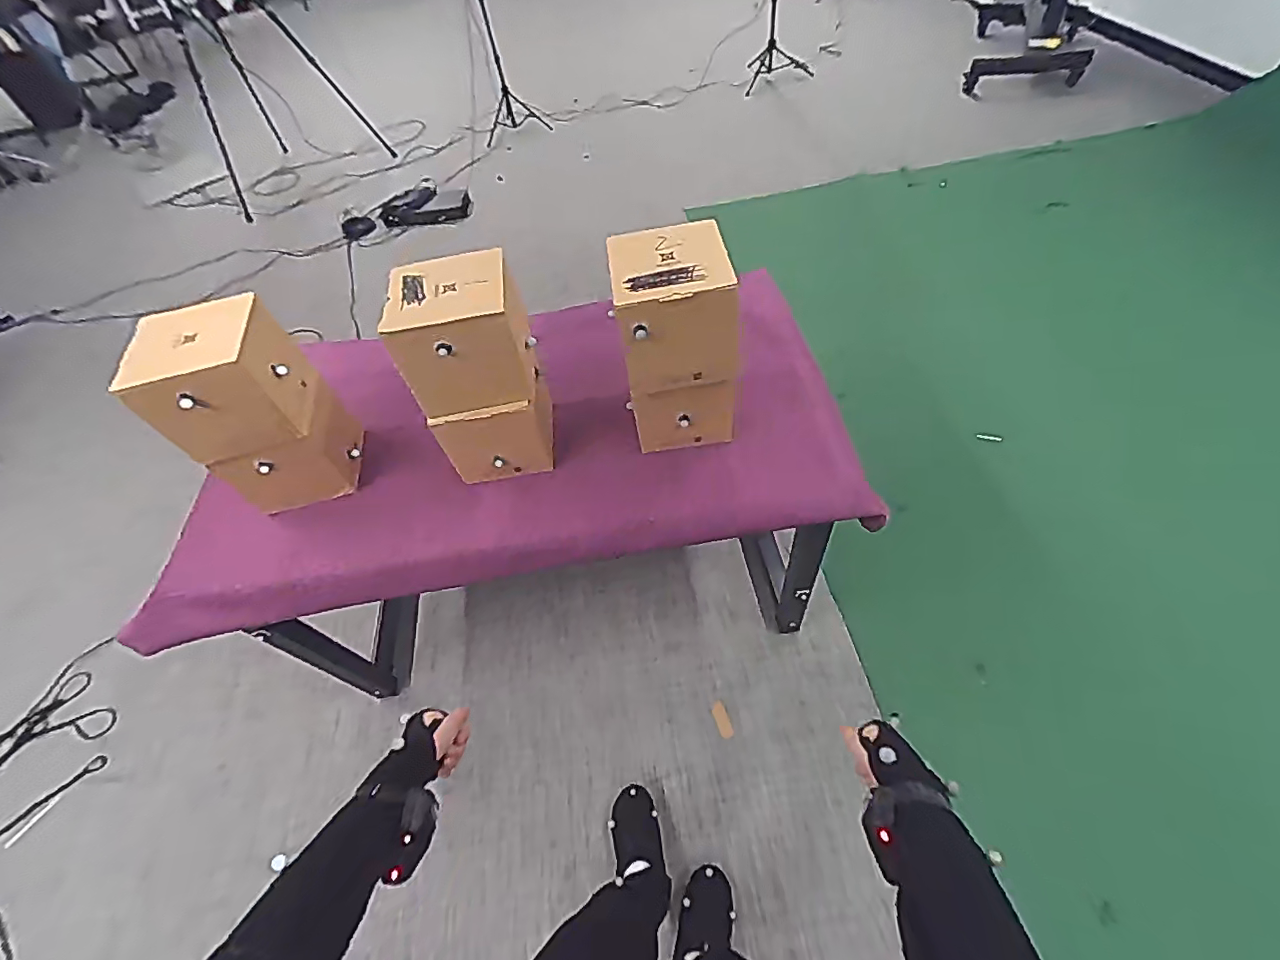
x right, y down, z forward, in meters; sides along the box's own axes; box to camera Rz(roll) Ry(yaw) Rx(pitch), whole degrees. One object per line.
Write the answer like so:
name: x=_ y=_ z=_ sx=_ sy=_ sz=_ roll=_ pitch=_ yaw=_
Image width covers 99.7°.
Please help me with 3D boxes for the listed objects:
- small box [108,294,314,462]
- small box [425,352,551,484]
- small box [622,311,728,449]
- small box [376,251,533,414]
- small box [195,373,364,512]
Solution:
small box: x=-0.644 y=-0.154 z=0.841 sx=0.179 sy=0.176 sz=0.168 roll=-16 pitch=55 yaw=-3
small box: x=-0.259 y=-0.117 z=0.964 sx=0.168 sy=0.176 sz=0.179 roll=-9 pitch=54 yaw=2
small box: x=0.063 y=-0.168 z=0.958 sx=0.168 sy=0.176 sz=0.179 roll=-7 pitch=54 yaw=3
small box: x=-0.274 y=-0.222 z=0.838 sx=0.179 sy=0.176 sz=0.168 roll=-11 pitch=53 yaw=-1
small box: x=-0.633 y=-0.062 z=0.974 sx=0.179 sy=0.176 sz=0.168 roll=-13 pitch=54 yaw=-3
